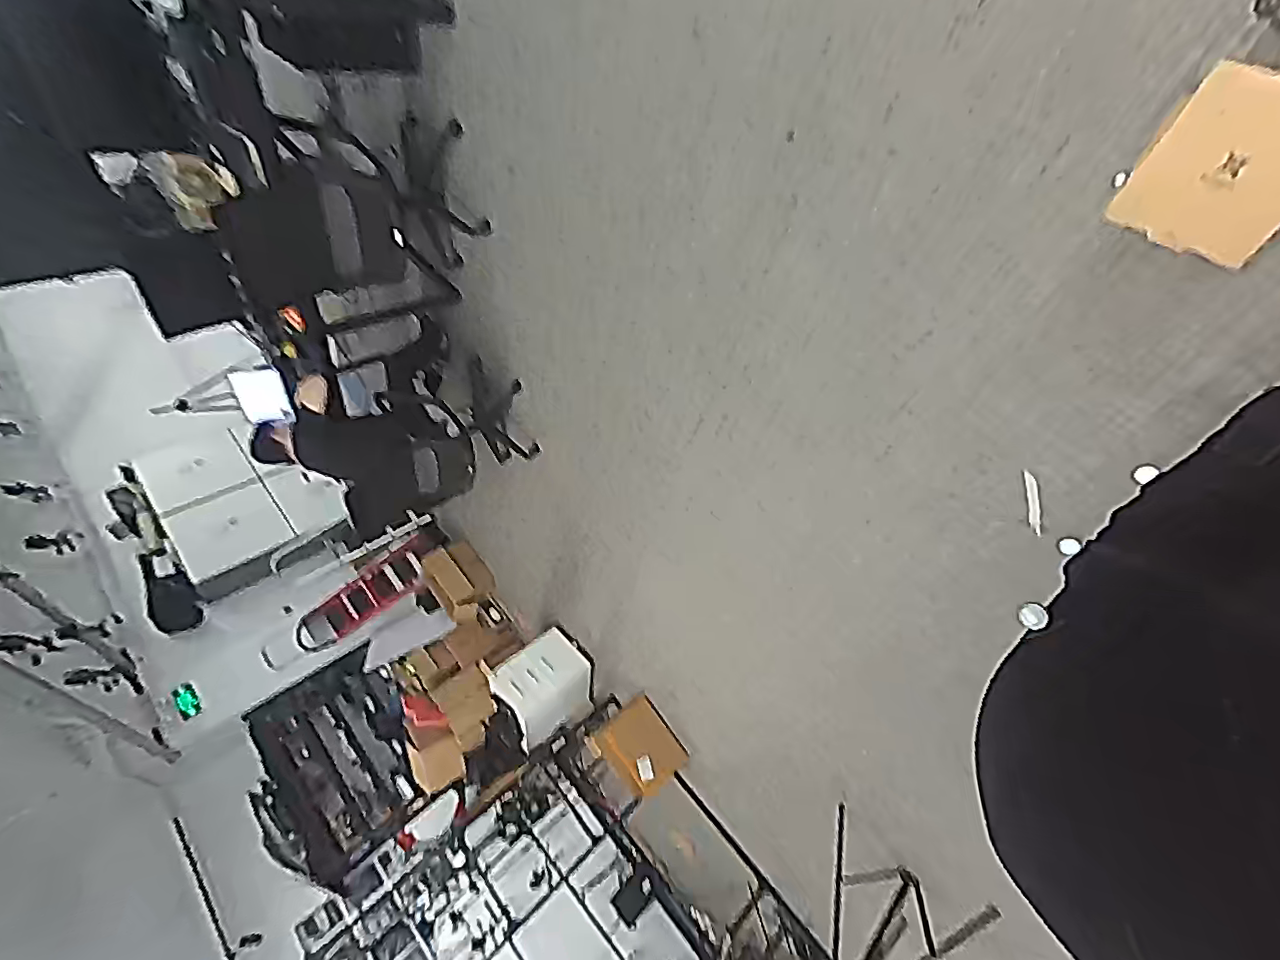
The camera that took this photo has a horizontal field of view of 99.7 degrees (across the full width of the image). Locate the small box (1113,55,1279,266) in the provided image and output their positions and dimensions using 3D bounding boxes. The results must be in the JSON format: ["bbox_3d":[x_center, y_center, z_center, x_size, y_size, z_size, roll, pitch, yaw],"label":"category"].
[{"bbox_3d":[0.753,-0.401,0.671,0.168,0.176,0.179,41,144,25],"label":"small box"}]
